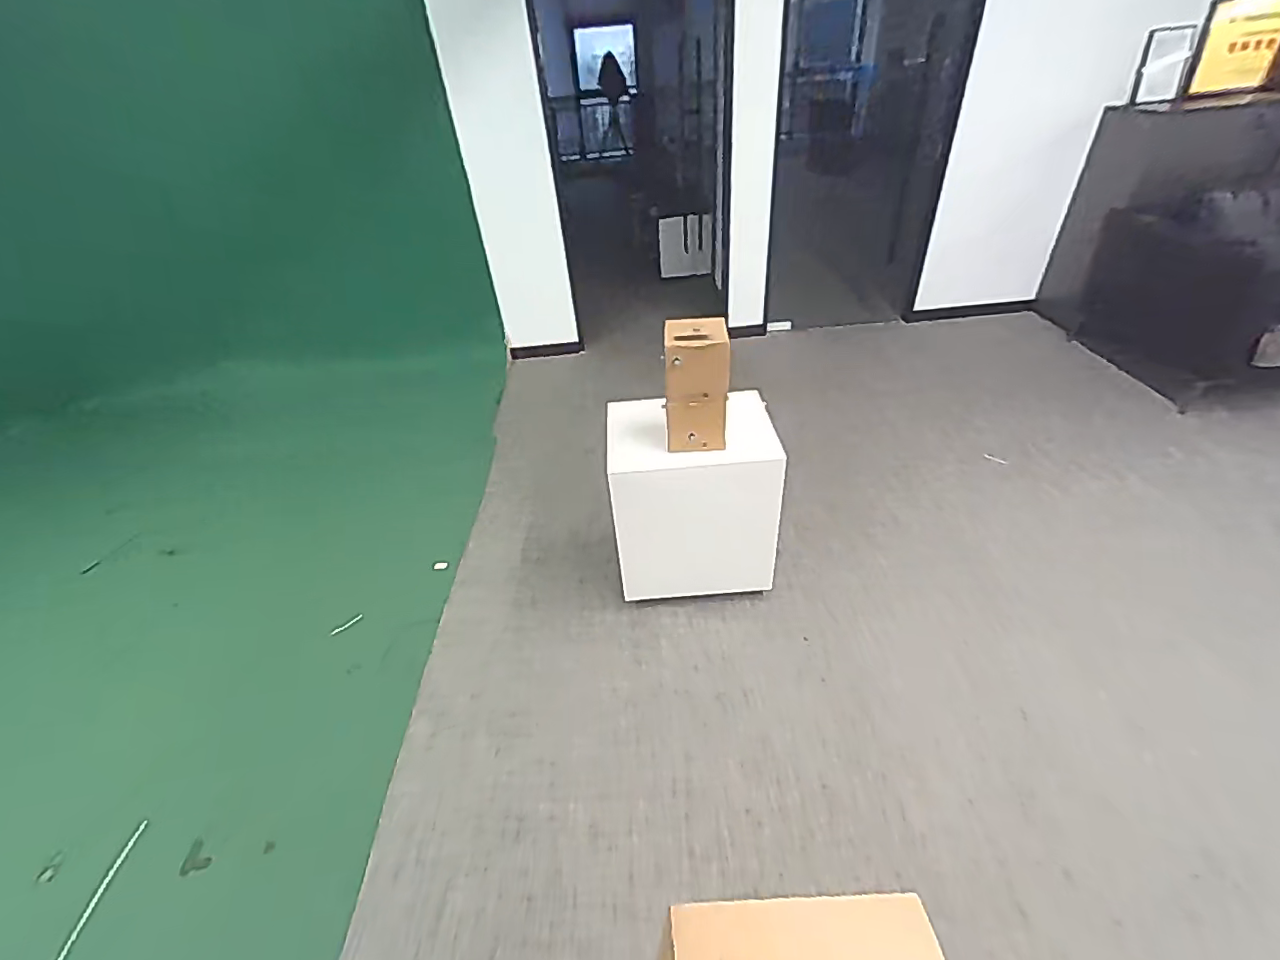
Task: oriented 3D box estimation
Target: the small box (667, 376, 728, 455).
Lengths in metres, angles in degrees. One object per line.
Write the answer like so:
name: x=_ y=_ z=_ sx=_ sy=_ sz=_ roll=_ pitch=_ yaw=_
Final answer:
small box: x=0.164 y=-0.190 z=1.580 sx=0.168 sy=0.176 sz=0.179 roll=-3 pitch=36 yaw=3
